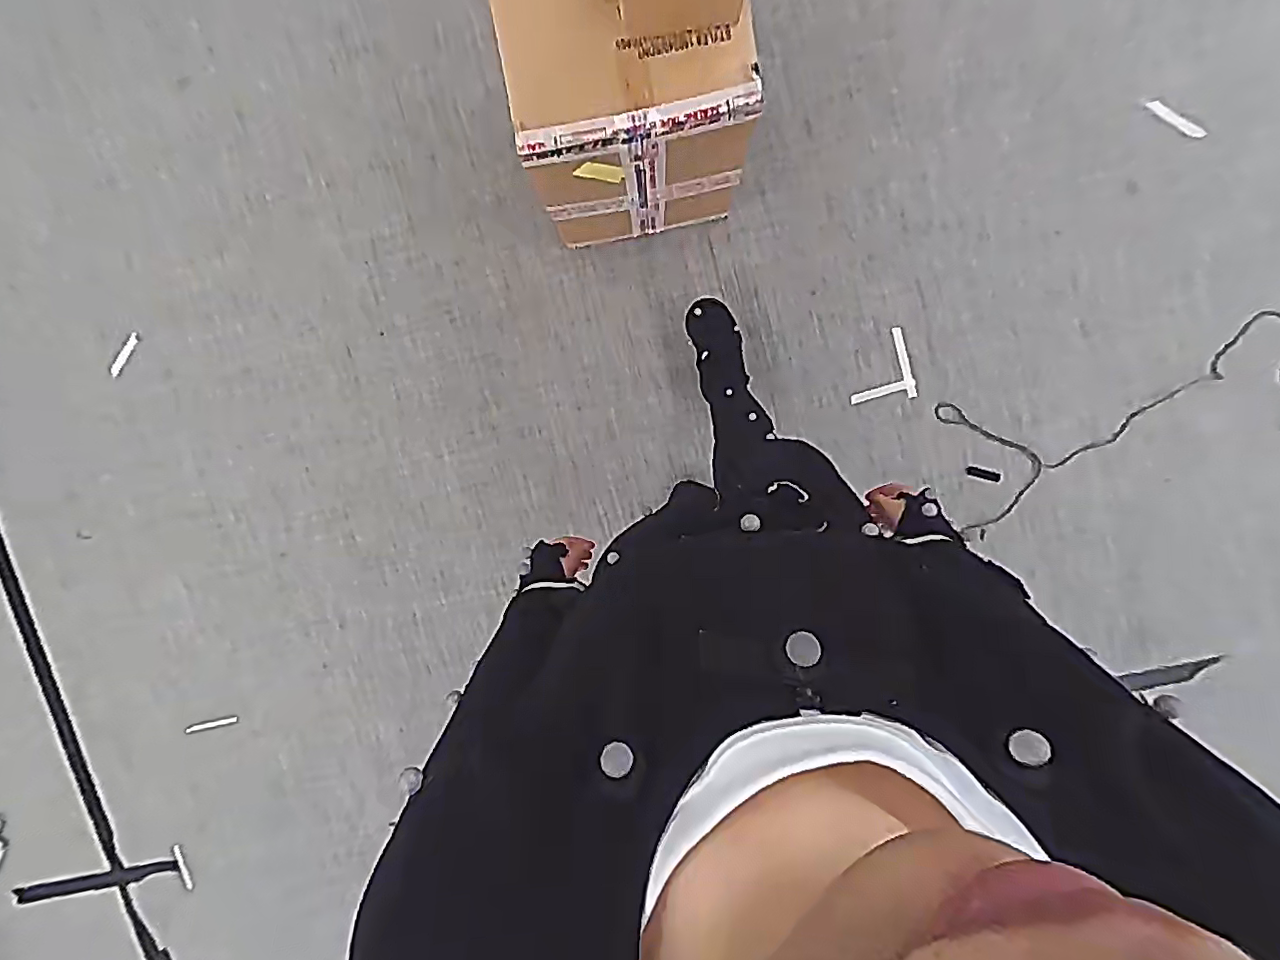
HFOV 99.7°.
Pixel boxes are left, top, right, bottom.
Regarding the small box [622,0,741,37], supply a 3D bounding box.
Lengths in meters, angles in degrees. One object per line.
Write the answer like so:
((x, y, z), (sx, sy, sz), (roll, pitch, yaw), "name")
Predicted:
((0.053, -0.736, 0.719), (0.179, 0.176, 0.168), (-7, 98, 2), "small box")
